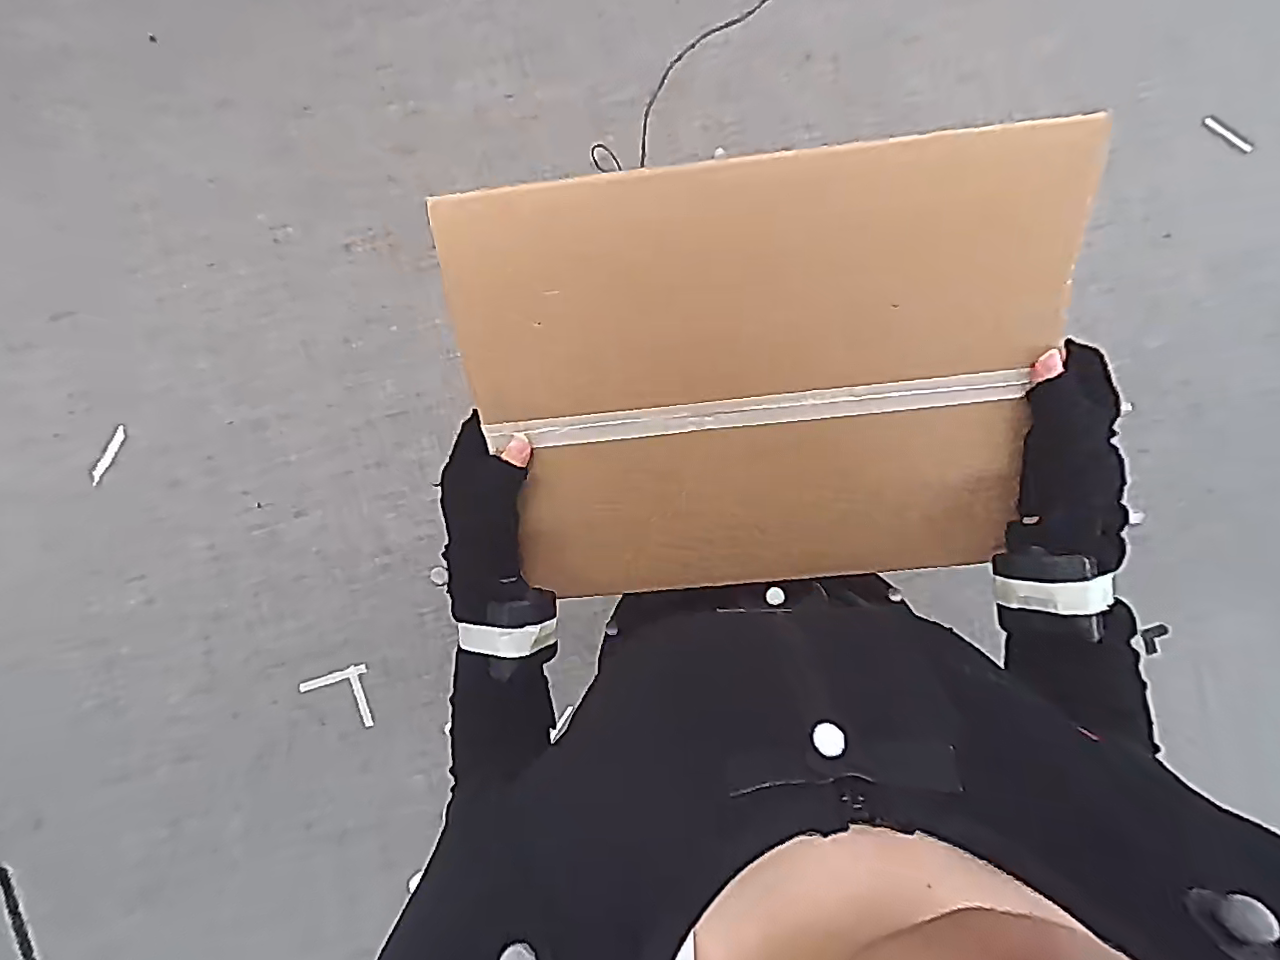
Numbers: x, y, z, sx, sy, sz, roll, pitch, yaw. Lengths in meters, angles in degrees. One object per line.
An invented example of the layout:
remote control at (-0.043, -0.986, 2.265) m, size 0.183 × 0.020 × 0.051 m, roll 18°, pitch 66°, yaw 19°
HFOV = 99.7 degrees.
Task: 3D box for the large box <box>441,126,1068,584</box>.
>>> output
large box at (0.084, -0.130, 0.539) m, size 0.408 × 0.320 × 0.320 m, roll -5°, pitch 117°, yaw 3°
